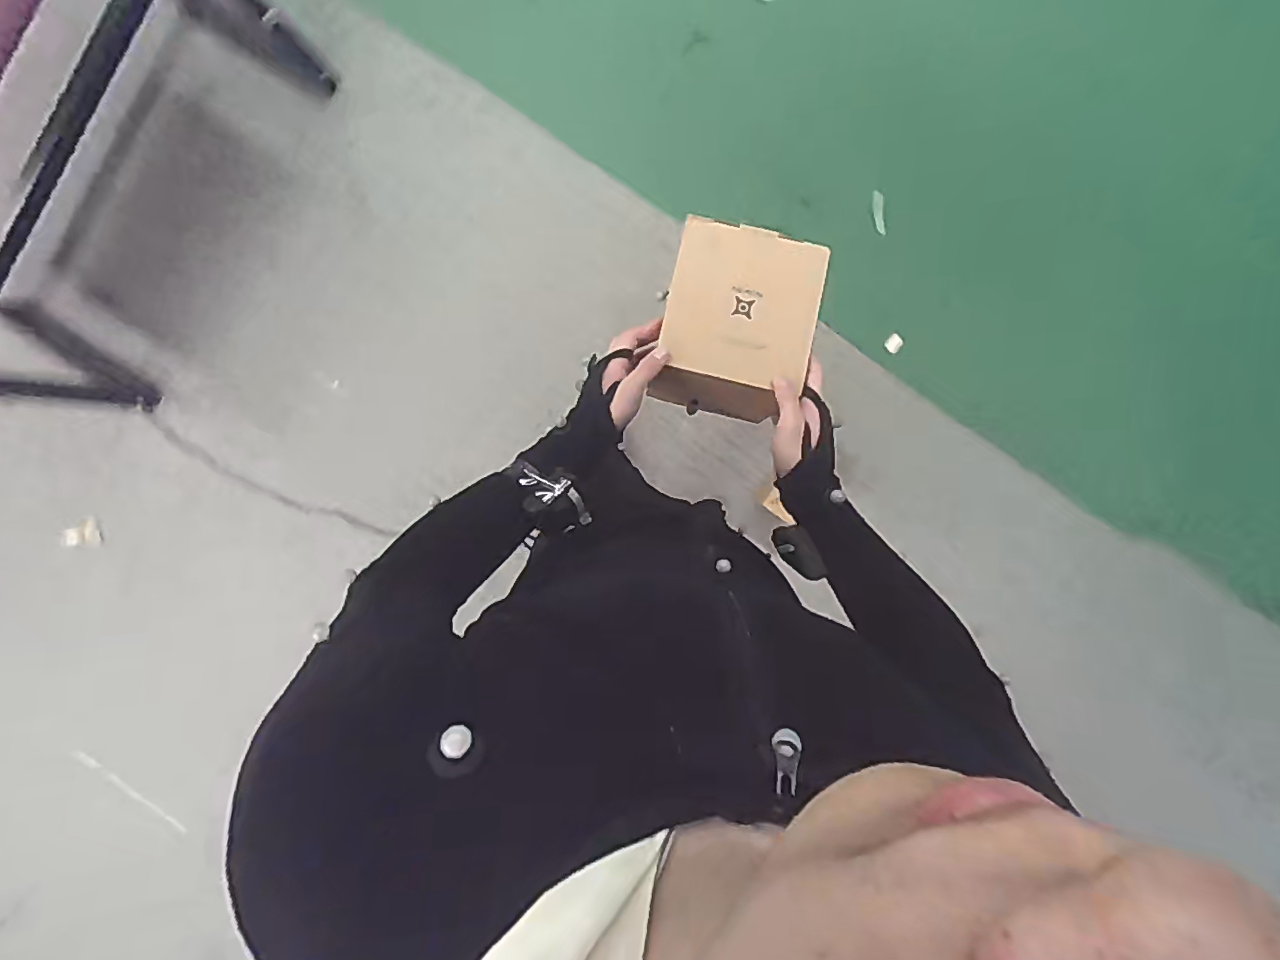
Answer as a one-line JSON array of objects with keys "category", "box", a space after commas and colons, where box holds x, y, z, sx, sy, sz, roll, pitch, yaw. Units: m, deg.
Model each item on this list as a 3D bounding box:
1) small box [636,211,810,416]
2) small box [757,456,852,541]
[{"category": "small box", "box": [0.090, -0.191, 0.668, 0.168, 0.176, 0.179, 11, 86, 0]}, {"category": "small box", "box": [0.454, 0.043, 1.523, 0.179, 0.176, 0.168, 36, 95, 0]}]
